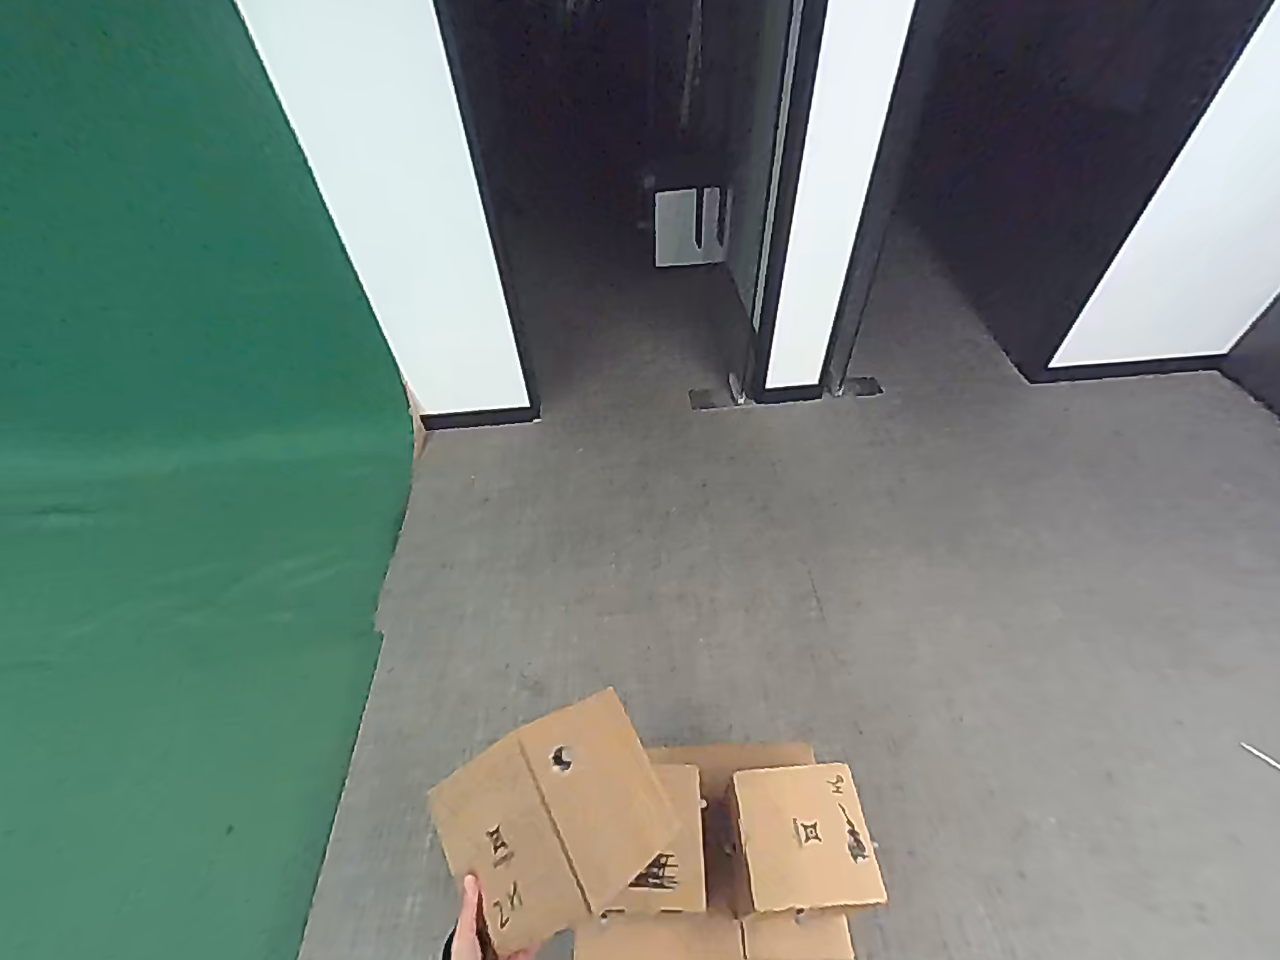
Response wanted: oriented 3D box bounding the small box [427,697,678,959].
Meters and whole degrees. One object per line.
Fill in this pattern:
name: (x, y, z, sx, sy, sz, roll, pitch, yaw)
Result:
small box: (-0.092, 0.364, 0.596, 0.176, 0.168, 0.179, -2, 54, -57)
